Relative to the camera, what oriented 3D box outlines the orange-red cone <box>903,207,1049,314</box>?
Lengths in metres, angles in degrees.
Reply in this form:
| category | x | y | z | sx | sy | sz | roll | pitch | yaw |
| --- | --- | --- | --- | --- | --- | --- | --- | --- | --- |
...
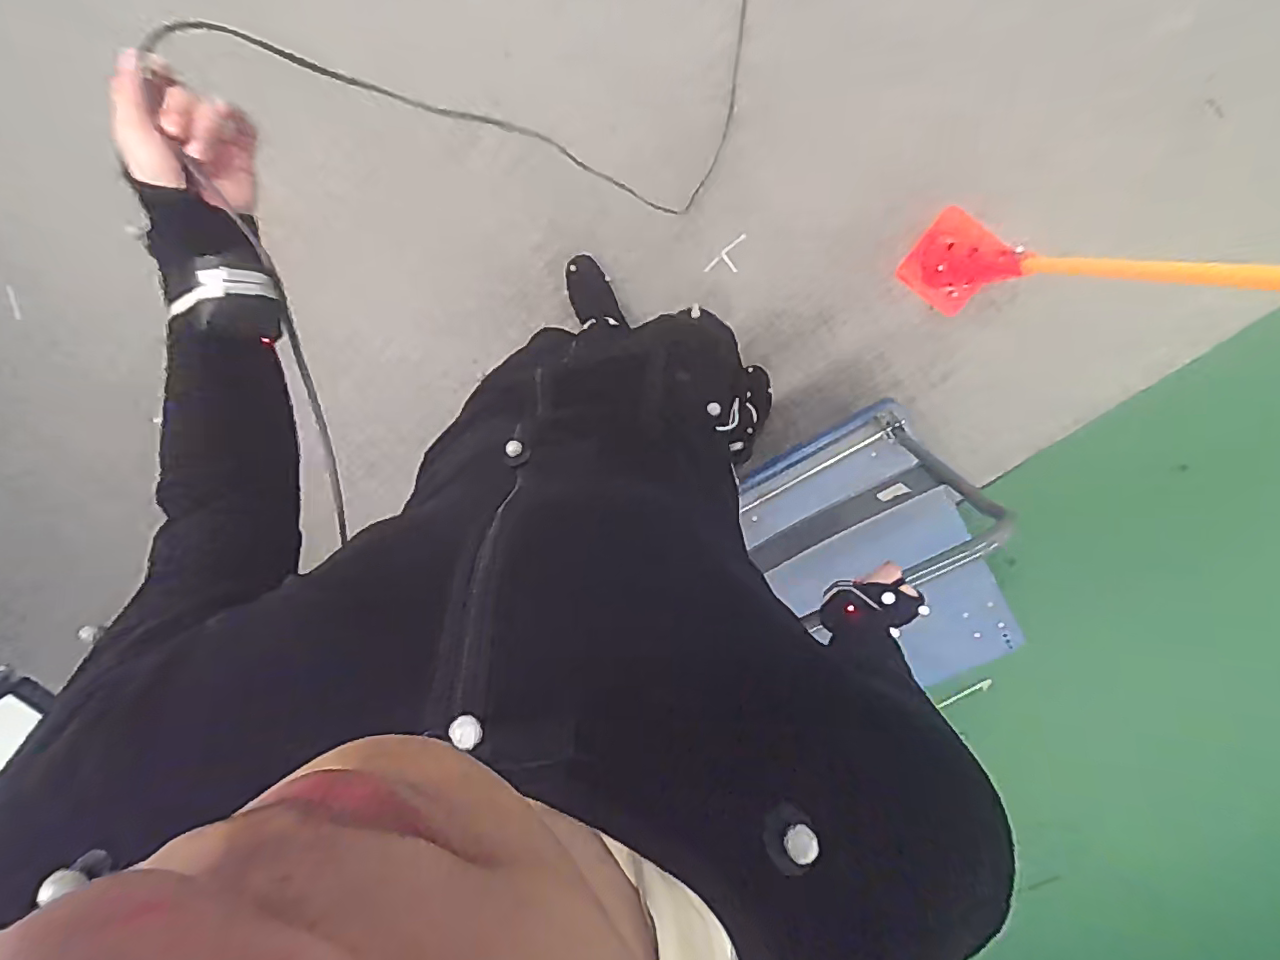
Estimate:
| category | x | y | z | sx | sy | sz | roll | pitch | yaw |
| --- | --- | --- | --- | --- | --- | --- | --- | --- | --- |
| orange-red cone | 0.777 | -0.482 | 1.195 | 0.198 | 0.360 | 0.199 | 34 | 110 | -9 |
